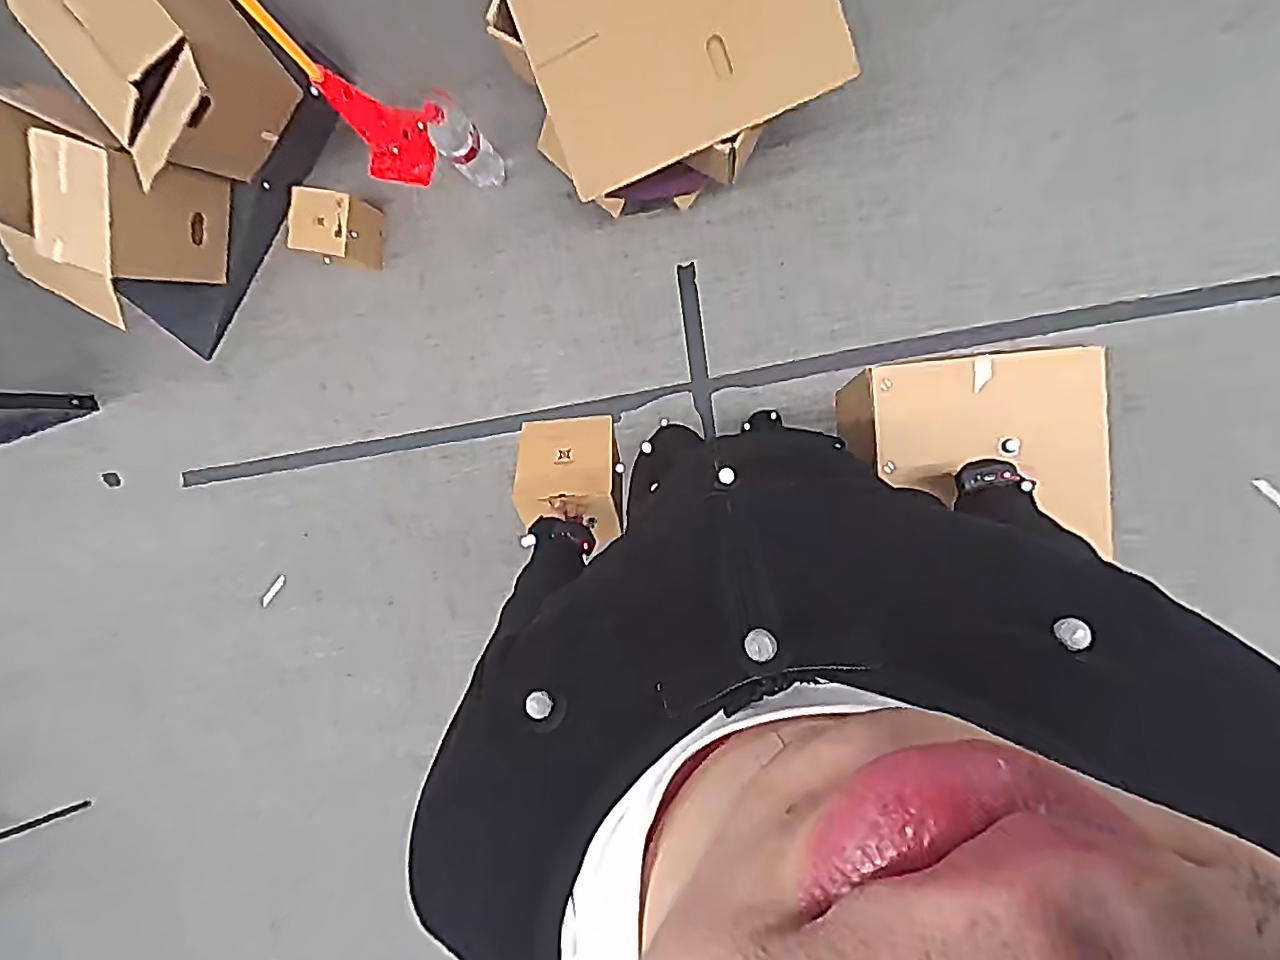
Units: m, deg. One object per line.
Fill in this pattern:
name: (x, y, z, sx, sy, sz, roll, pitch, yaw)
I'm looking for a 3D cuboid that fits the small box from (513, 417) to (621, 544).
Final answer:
small box: (-0.125, 0.008, 1.003, 0.168, 0.176, 0.179, -4, 53, 3)
